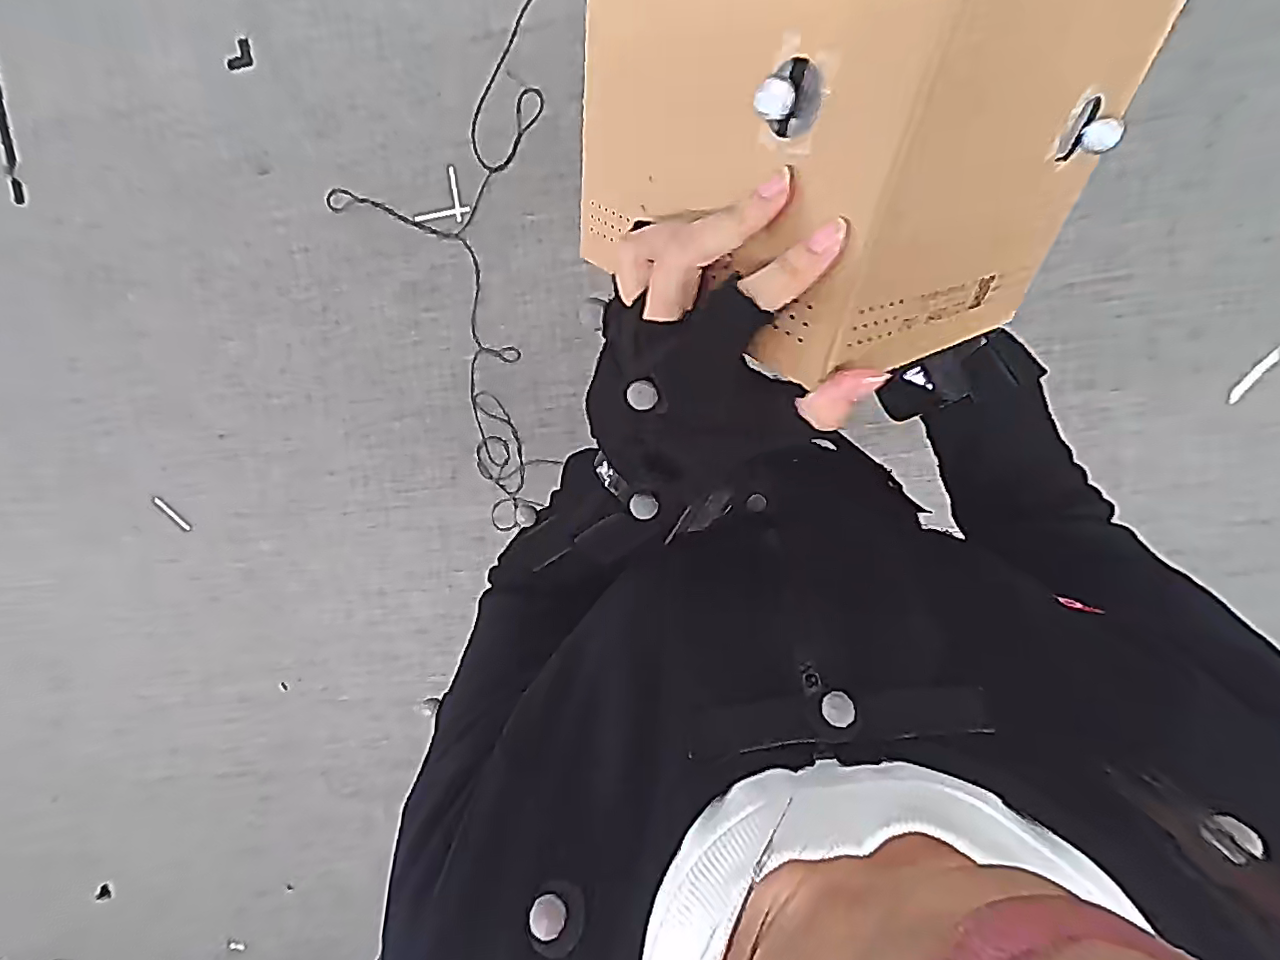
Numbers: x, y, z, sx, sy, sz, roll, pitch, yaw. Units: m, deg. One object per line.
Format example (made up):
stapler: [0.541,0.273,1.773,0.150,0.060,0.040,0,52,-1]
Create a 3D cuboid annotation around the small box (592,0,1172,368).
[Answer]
small box: [0.090,-0.165,0.252,0.168,0.179,0.176,-20,136,-30]
